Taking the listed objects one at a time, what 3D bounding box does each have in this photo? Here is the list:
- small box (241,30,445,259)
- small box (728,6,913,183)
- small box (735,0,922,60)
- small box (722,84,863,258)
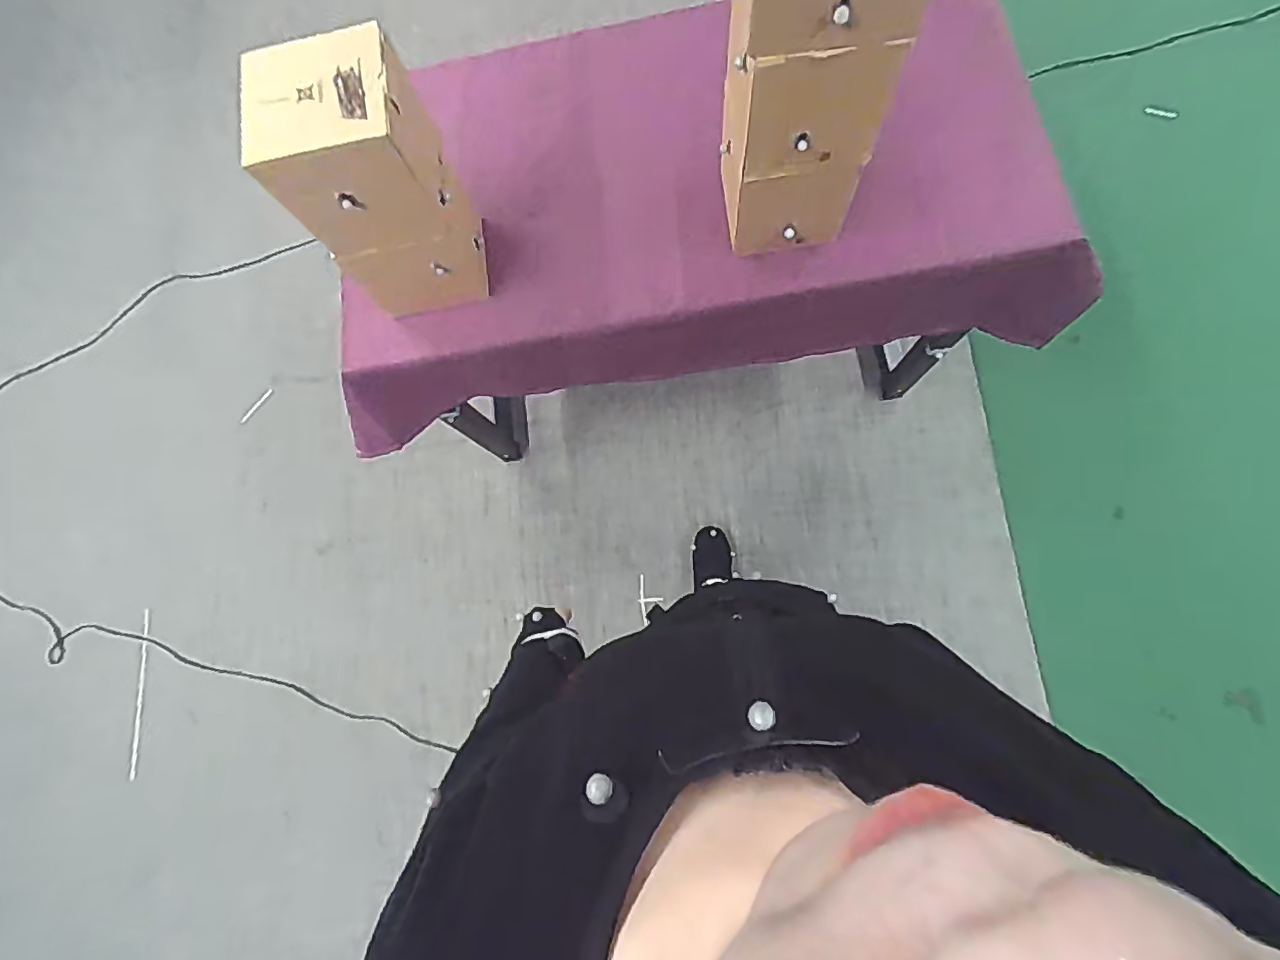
[{"bbox_3d":[-0.368,-0.417,0.699,0.179,0.176,0.168,-11,77,4],"label":"small box"},{"bbox_3d":[0.201,-0.502,0.655,0.168,0.176,0.179,-6,78,5],"label":"small box"},{"bbox_3d":[0.182,-0.534,0.495,0.179,0.176,0.168,-4,78,4],"label":"small box"},{"bbox_3d":[0.216,-0.468,0.814,0.168,0.176,0.179,-6,78,6],"label":"small box"}]
